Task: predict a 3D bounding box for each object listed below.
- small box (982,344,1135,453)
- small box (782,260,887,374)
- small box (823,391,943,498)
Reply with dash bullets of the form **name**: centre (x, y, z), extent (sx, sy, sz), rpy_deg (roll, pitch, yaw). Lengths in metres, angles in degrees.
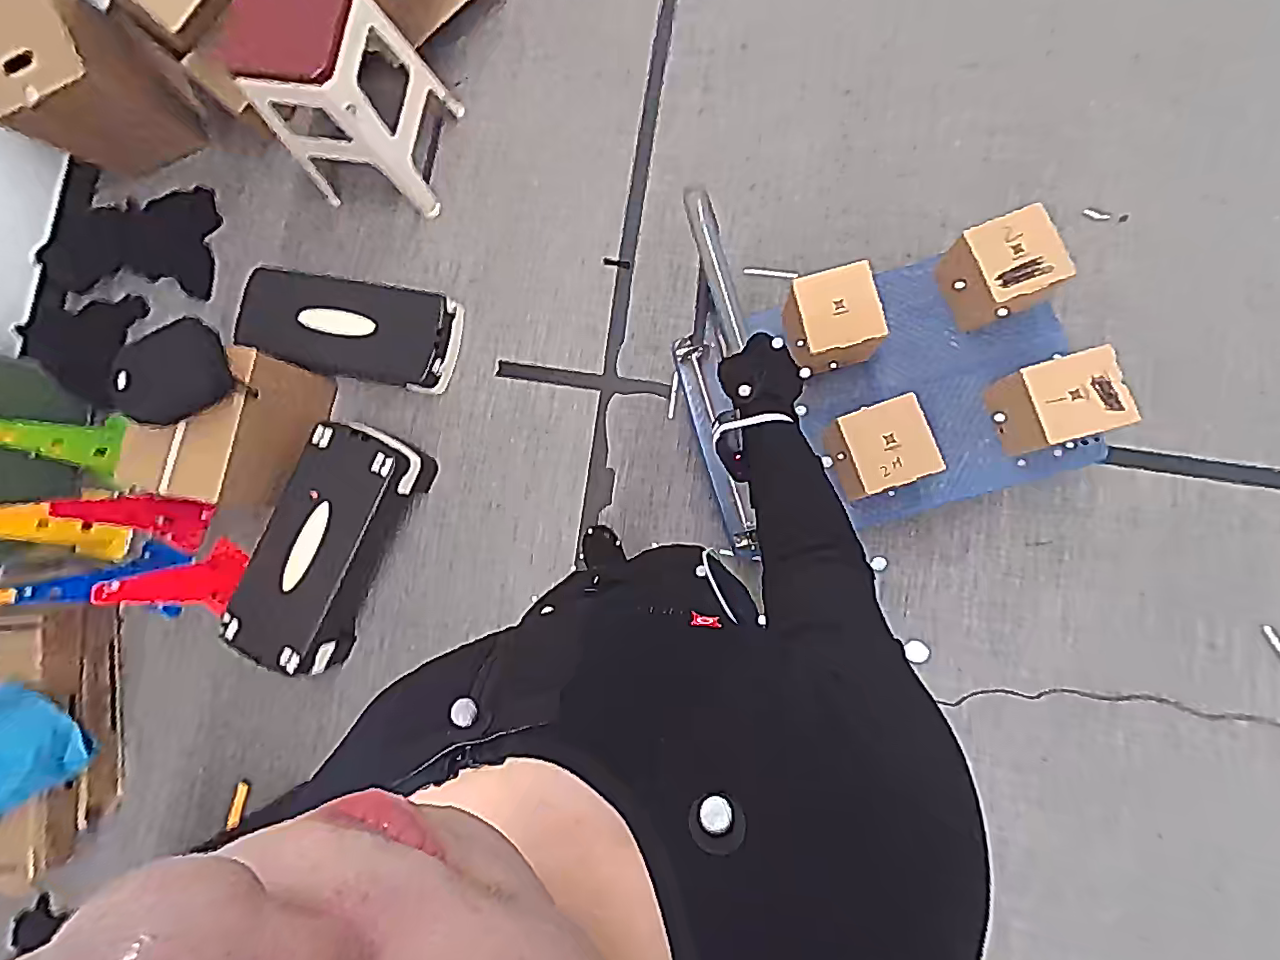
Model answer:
- **small box**: centre (0.881, -0.166, 1.156), extent (0.179, 0.176, 0.168), rpy_deg (-16, 82, 6)
- **small box**: centre (0.434, -0.365, 1.237), extent (0.168, 0.176, 0.179), rpy_deg (-14, 84, 5)
- **small box**: centre (0.523, -0.070, 1.193), extent (0.168, 0.176, 0.179), rpy_deg (-19, 82, 5)
